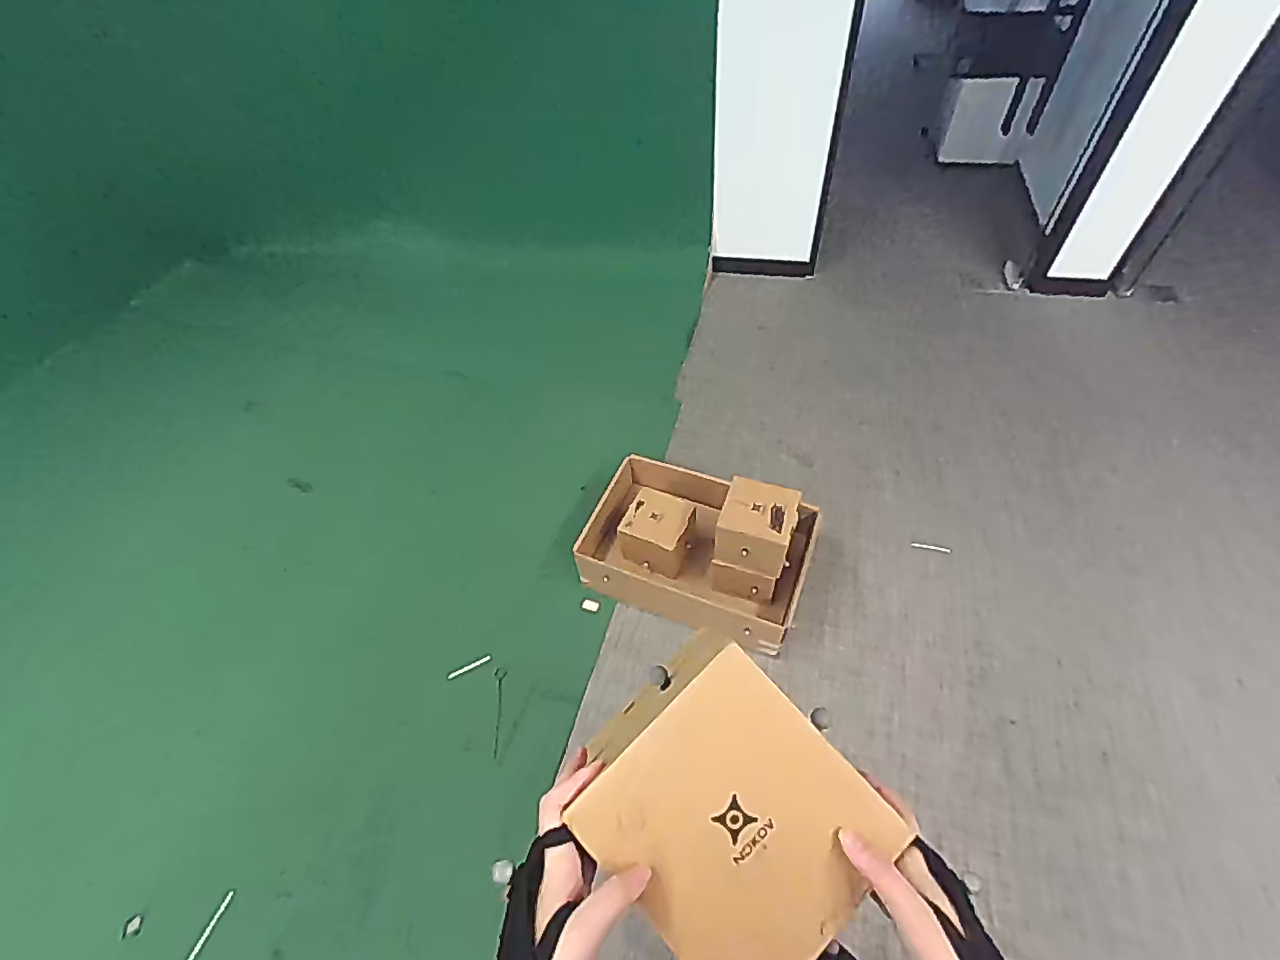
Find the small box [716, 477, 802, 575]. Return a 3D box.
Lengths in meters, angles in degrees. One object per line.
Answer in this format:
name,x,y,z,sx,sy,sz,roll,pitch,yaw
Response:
small box,0.300,0.122,1.382,0.179,0.176,0.168,14,55,17
